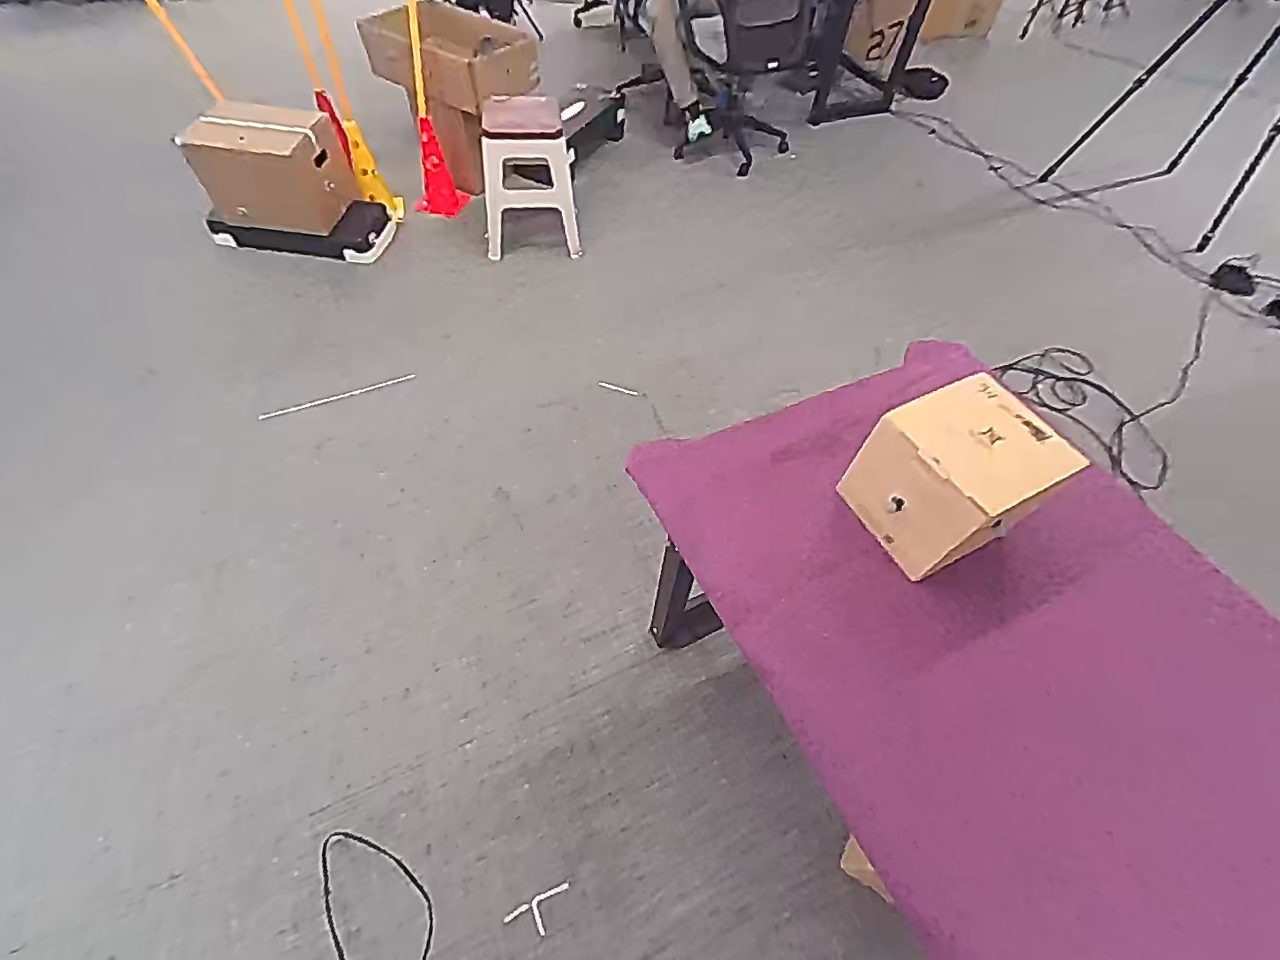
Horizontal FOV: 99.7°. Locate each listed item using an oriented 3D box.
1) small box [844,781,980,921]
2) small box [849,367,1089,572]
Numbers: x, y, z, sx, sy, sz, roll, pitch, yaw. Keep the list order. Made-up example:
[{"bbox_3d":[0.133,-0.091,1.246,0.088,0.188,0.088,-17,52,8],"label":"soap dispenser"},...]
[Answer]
[{"bbox_3d":[0.534,0.730,1.071,0.168,0.176,0.179,29,59,16],"label":"small box"},{"bbox_3d":[0.397,-0.008,0.694,0.179,0.176,0.168,-22,60,-17],"label":"small box"}]
